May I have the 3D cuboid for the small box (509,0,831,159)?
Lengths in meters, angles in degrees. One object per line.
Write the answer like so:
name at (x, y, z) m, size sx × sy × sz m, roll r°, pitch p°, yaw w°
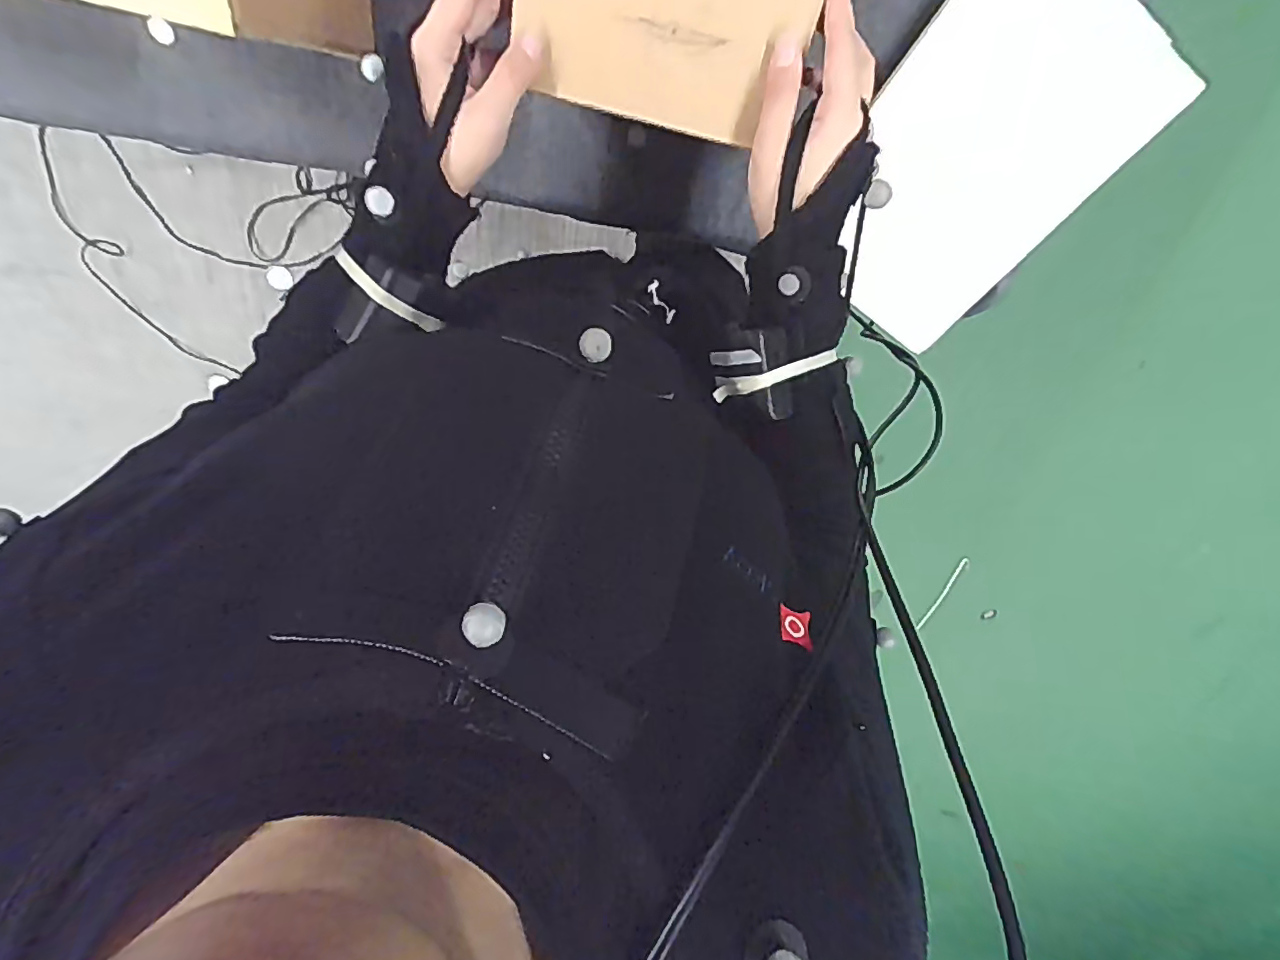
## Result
small box at (0.028, -0.320, 0.334) m, size 0.168 × 0.176 × 0.179 m, roll 13°, pitch 124°, yaw -2°

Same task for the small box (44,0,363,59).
small box at (-0.288, -0.379, 0.322) m, size 0.168 × 0.176 × 0.179 m, roll 12°, pitch 123°, yaw -3°
